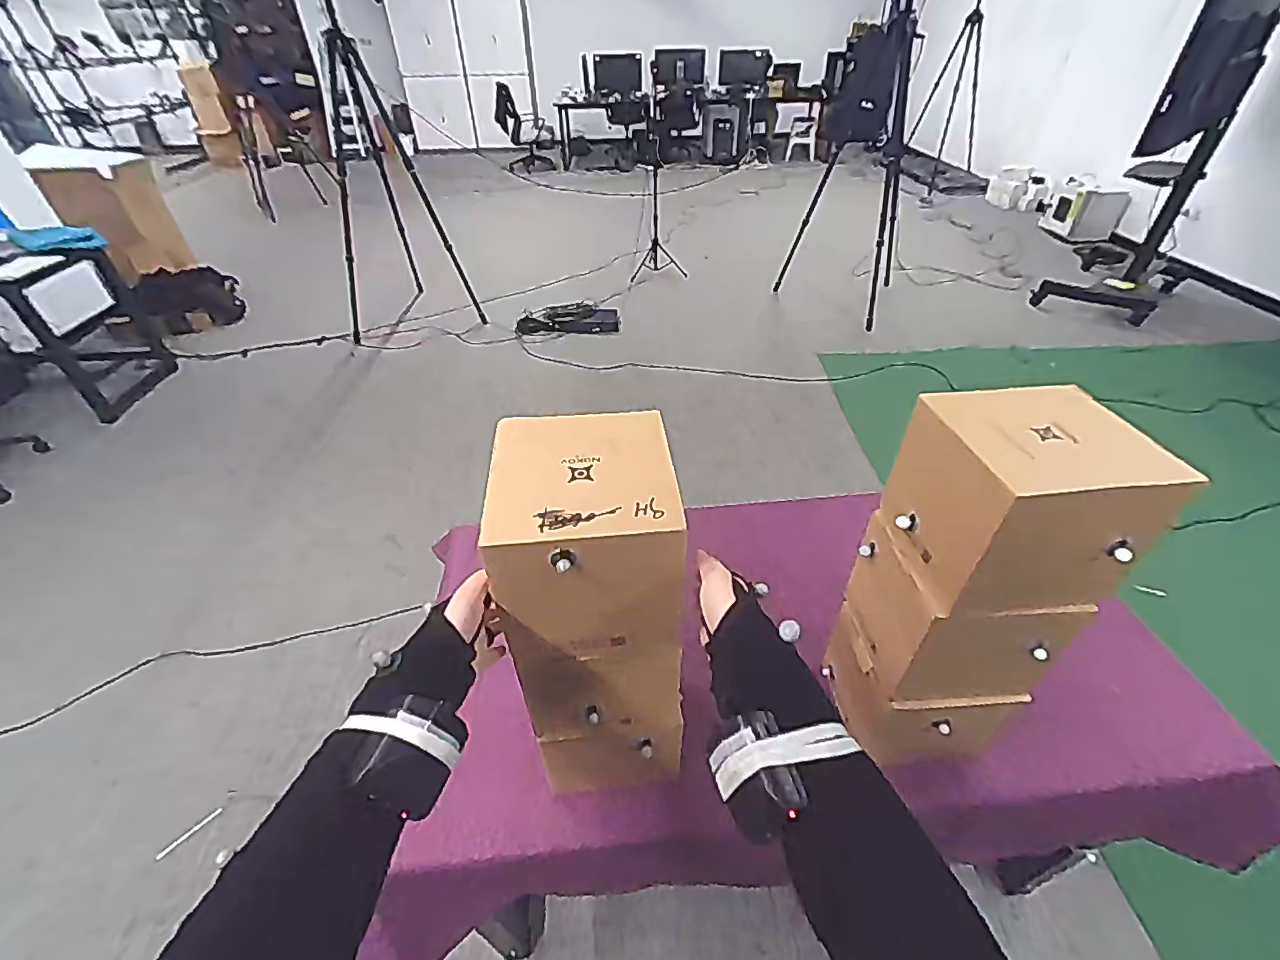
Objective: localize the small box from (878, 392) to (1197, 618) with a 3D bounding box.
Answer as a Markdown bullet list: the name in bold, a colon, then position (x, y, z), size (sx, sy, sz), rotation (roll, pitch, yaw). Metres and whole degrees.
- **small box**: position (0.383, 0.025, 0.564), size (0.179, 0.176, 0.168), rotation (-4, 40, -3)

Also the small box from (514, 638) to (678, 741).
- **small box**: position (-0.050, 0.182, 0.647), size (0.168, 0.176, 0.179), rotation (-4, 41, -4)

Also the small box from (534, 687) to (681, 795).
- **small box**: position (-0.044, 0.311, 0.748), size (0.179, 0.176, 0.168), rotation (-5, 40, -4)

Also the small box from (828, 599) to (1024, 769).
- **small box**: position (0.379, 0.287, 0.762), size (0.179, 0.176, 0.168), rotation (-3, 40, -2)

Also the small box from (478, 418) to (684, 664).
- **small box**: position (-0.052, 0.057, 0.540), size (0.168, 0.176, 0.179), rotation (-4, 40, -3)
